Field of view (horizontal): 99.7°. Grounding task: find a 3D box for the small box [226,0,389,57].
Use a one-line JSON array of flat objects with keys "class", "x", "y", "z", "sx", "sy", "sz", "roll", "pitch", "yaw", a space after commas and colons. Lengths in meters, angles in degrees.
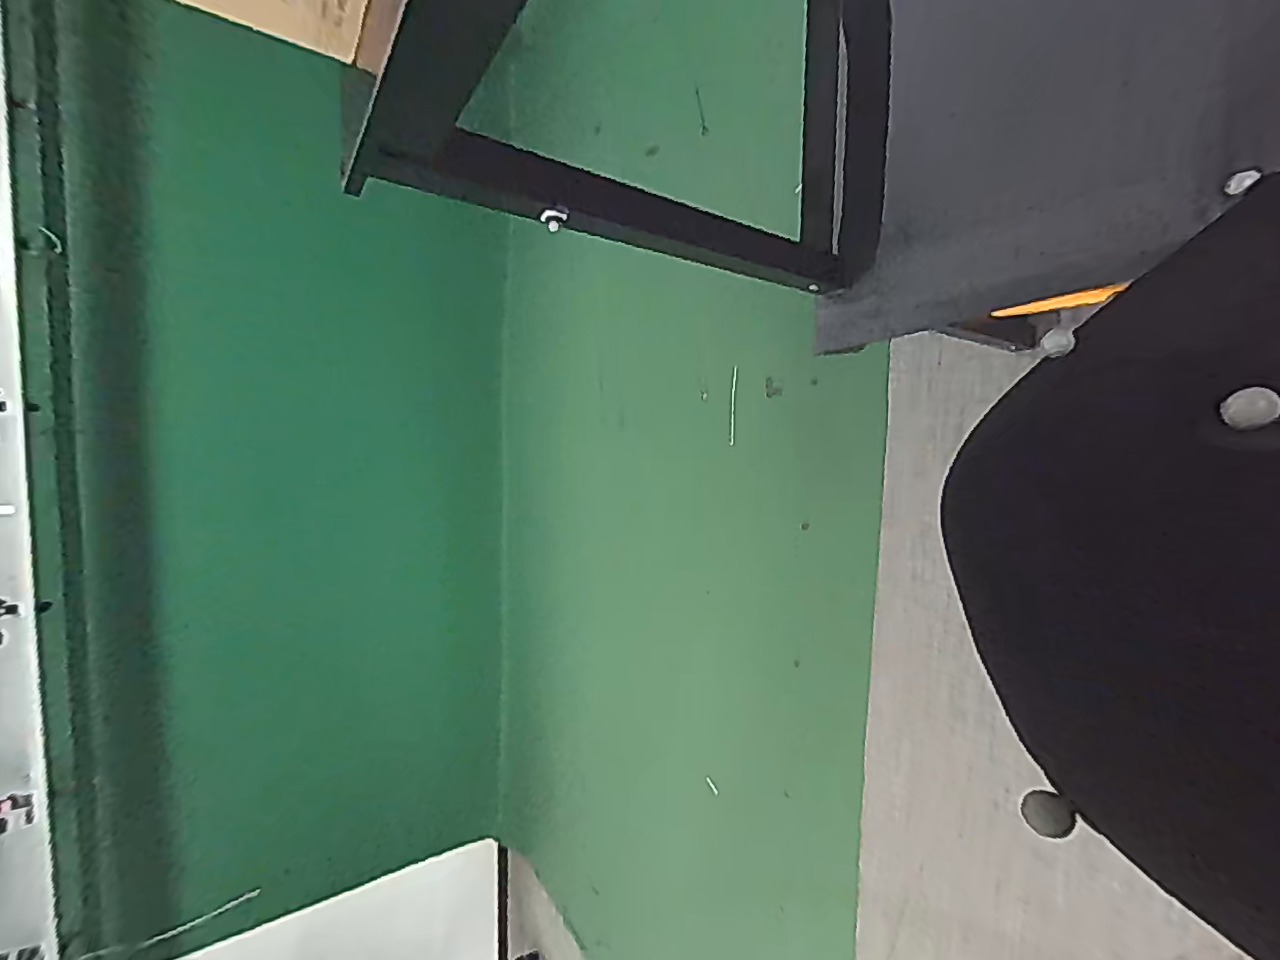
[{"class": "small box", "x": -0.250, "y": -0.431, "z": 0.344, "sx": 0.168, "sy": 0.176, "sz": 0.179, "roll": 4, "pitch": 96, "yaw": 56}]
